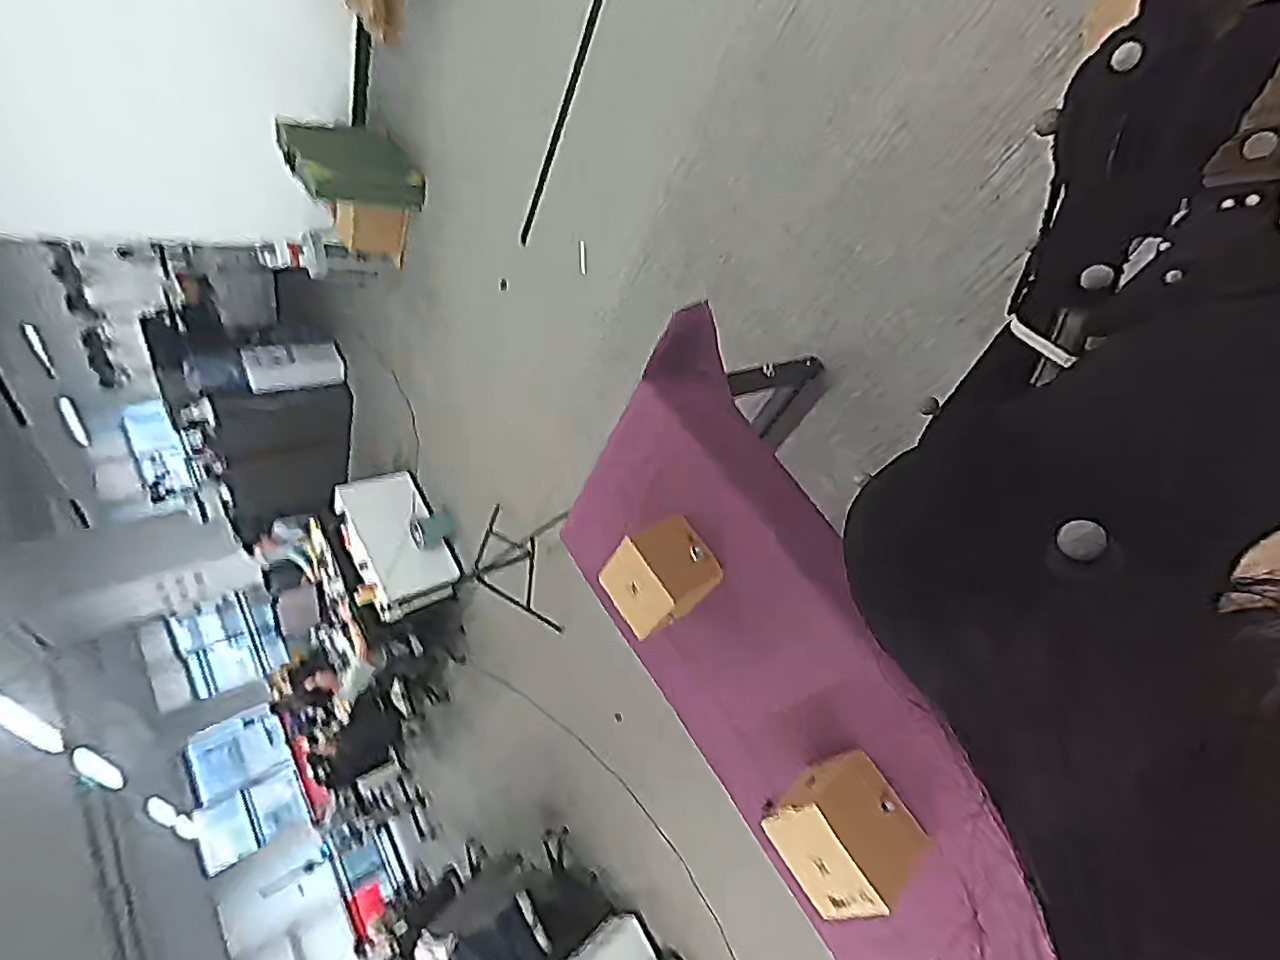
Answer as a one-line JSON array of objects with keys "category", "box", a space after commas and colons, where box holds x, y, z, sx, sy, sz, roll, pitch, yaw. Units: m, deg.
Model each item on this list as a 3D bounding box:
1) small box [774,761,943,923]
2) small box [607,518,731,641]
[{"category": "small box", "box": [0.380, 0.622, 0.947, 0.179, 0.176, 0.168, 54, 138, 21]}, {"category": "small box", "box": [0.063, 0.209, 1.160, 0.168, 0.176, 0.179, 51, 136, 21]}]
